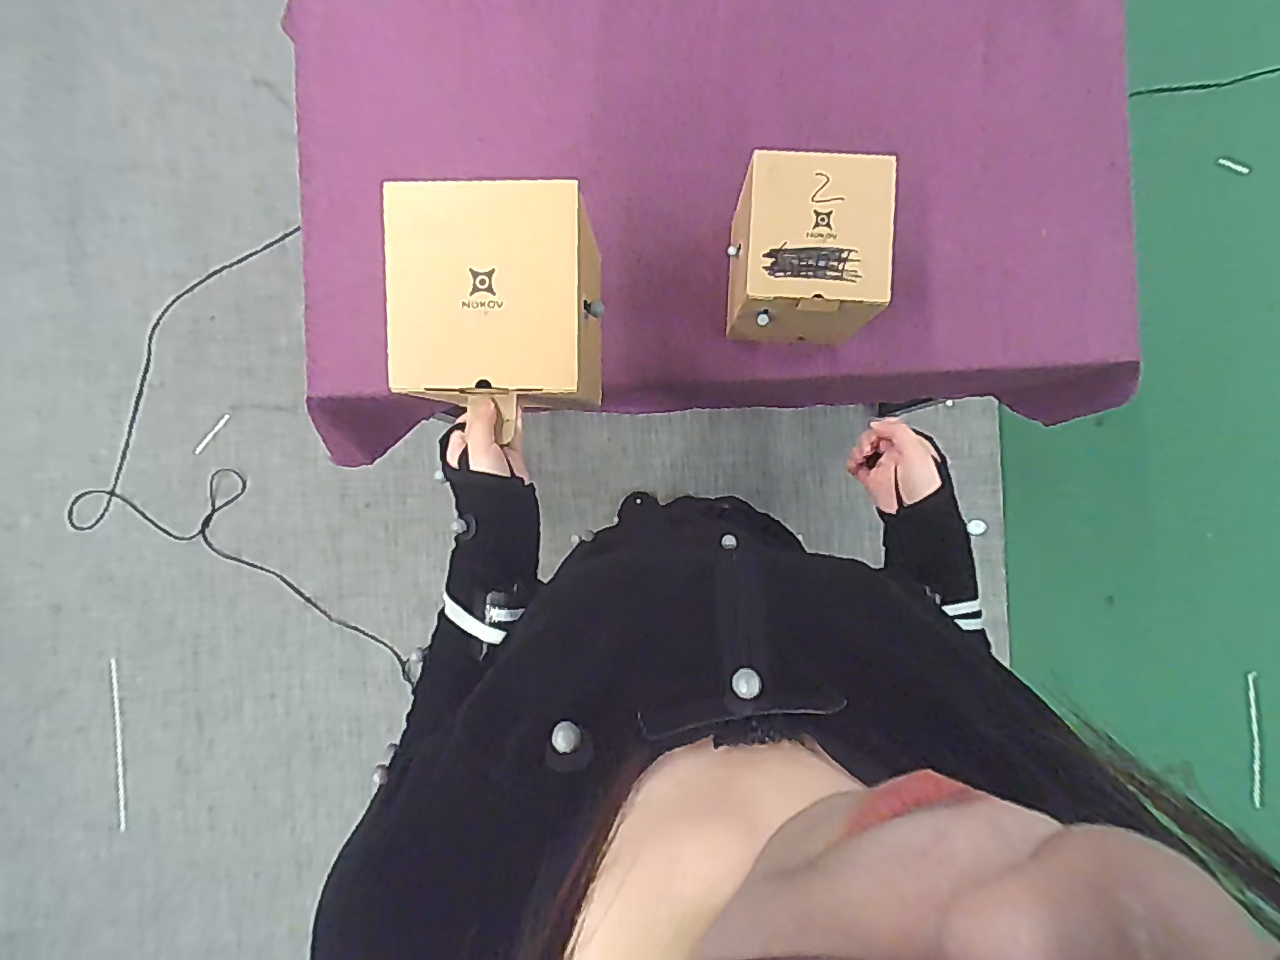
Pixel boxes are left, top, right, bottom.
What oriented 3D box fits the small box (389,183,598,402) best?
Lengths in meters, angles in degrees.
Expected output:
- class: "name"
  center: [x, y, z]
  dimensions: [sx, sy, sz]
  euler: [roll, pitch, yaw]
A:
- class: "small box"
  center: [-0.135, -0.174, 0.550]
  dimensions: [0.168, 0.176, 0.179]
  euler: [1, 95, 2]
